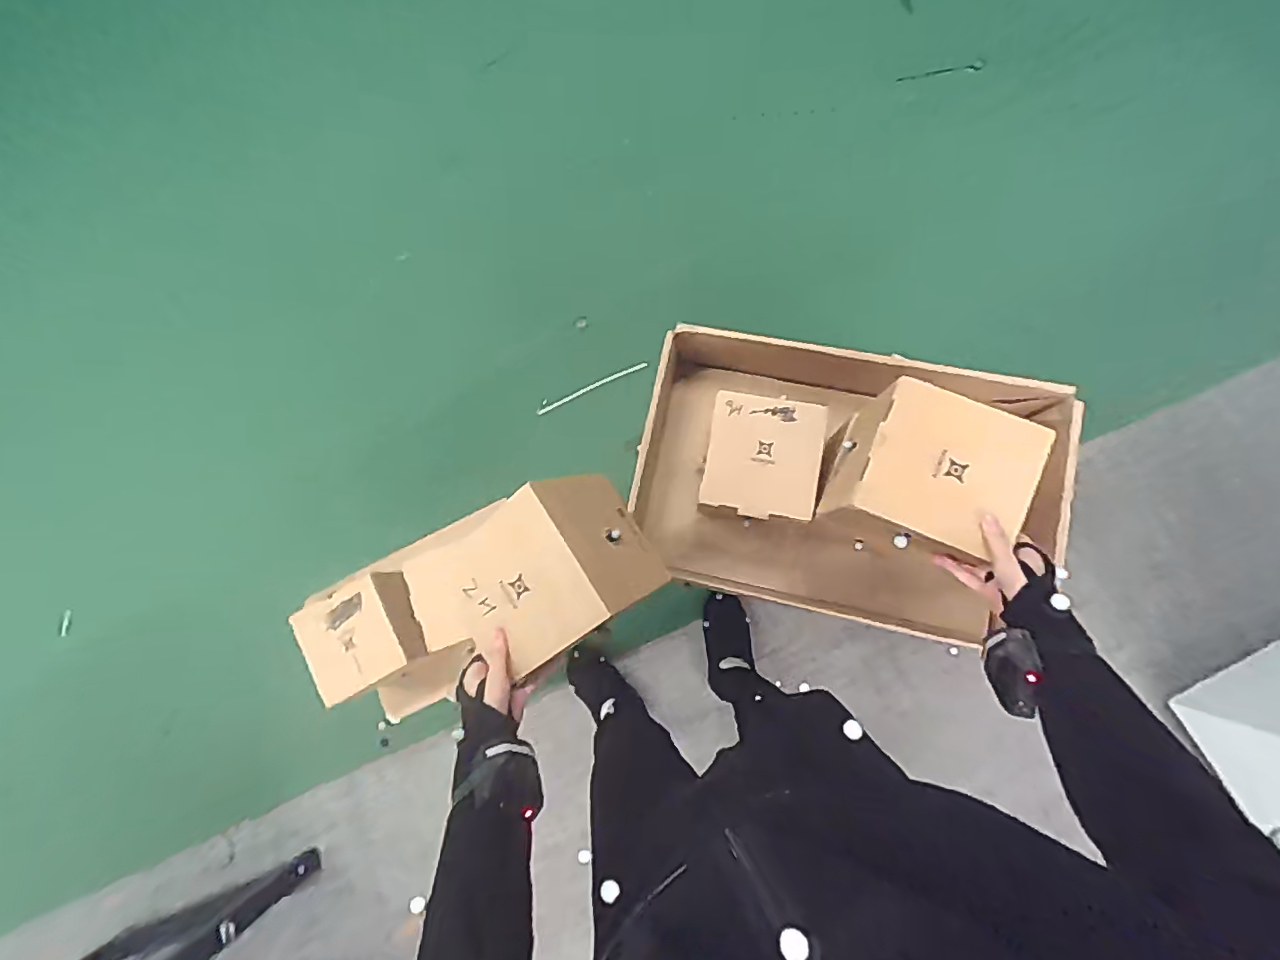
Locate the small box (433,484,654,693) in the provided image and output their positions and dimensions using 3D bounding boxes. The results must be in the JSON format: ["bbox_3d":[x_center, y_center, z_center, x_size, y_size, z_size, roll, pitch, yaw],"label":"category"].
[{"bbox_3d":[-0.103,0.117,0.656,0.179,0.176,0.168,-39,77,22],"label":"small box"}]

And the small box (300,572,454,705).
[{"bbox_3d":[-0.483,0.286,1.014,0.168,0.176,0.179,-29,79,2],"label":"small box"}]

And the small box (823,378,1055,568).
[{"bbox_3d":[0.355,-0.002,0.678,0.179,0.176,0.168,23,85,10],"label":"small box"}]
